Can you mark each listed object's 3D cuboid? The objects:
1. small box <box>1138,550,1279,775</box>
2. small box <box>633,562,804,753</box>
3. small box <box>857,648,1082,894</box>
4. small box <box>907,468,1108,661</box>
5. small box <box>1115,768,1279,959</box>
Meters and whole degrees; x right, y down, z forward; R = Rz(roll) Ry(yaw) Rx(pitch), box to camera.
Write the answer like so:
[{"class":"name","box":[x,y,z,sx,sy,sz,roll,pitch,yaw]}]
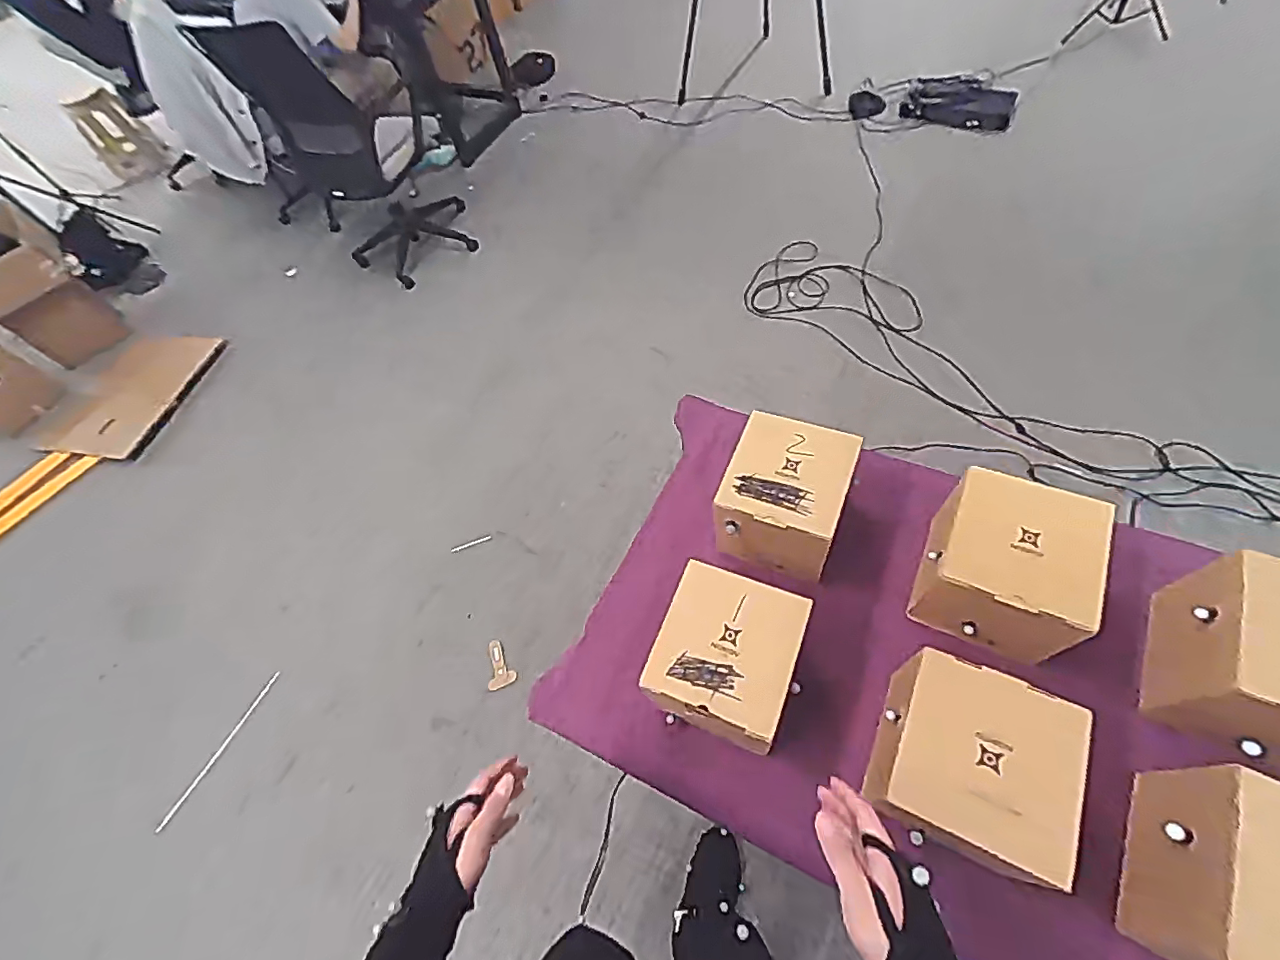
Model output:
[{"class":"small box","box":[0.721,0.213,0.618,0.168,0.176,0.179,21,66,23]},{"class":"small box","box":[0.111,0.242,0.725,0.168,0.176,0.179,17,62,20]},{"class":"small box","box":[0.366,0.327,0.626,0.168,0.176,0.179,20,66,22]},{"class":"small box","box":[0.481,0.117,0.729,0.168,0.176,0.179,19,66,21]},{"class":"small box","box":[0.608,0.412,0.523,0.168,0.176,0.179,21,65,23]}]
